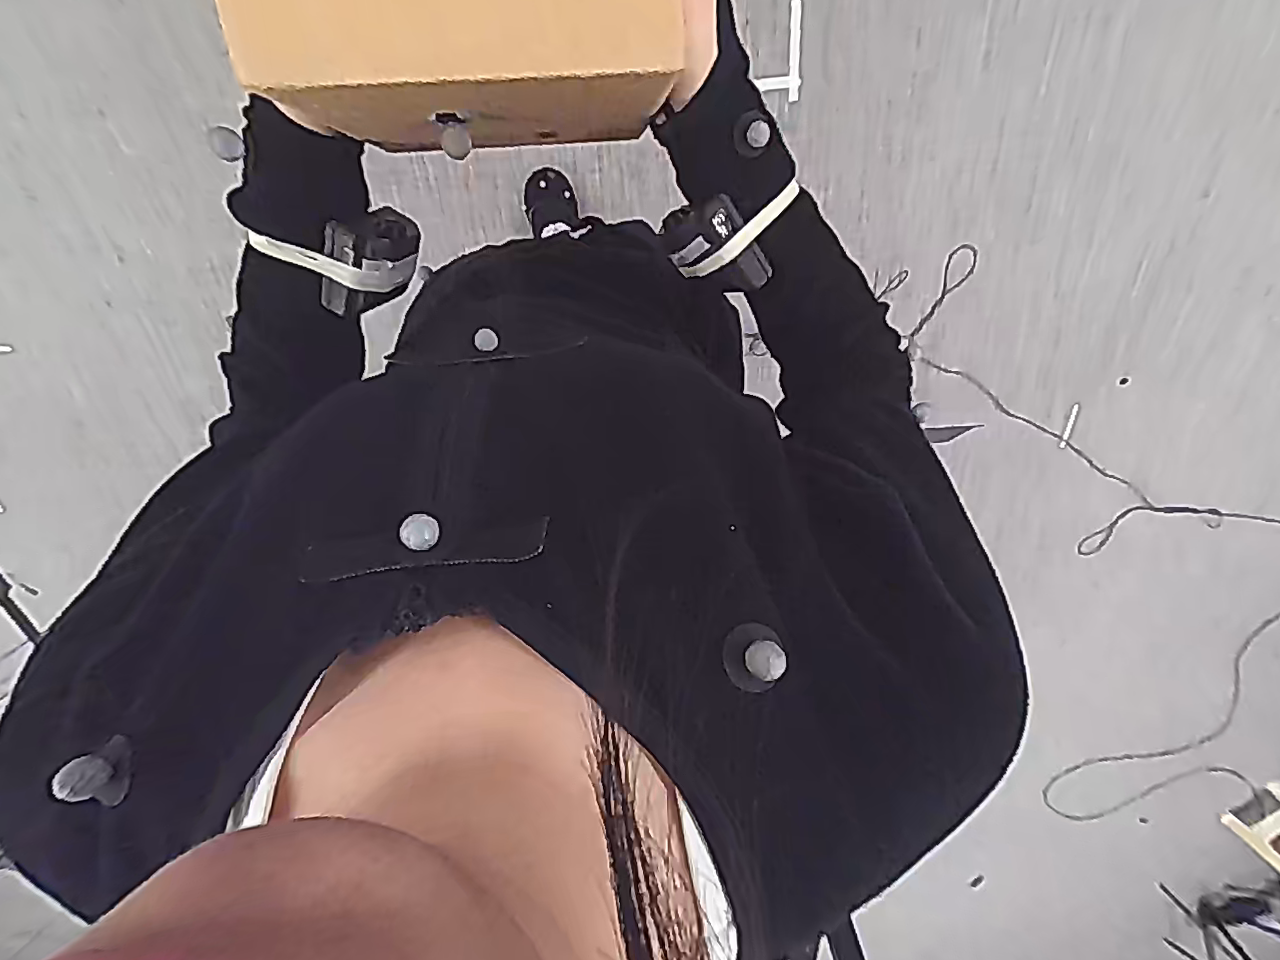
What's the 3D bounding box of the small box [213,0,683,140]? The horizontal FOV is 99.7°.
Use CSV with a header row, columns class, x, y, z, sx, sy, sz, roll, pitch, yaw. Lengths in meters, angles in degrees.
class,x,y,z,sx,sy,sz,roll,pitch,yaw
small box,-0.075,-0.260,0.235,0.168,0.176,0.179,-6,114,-4
